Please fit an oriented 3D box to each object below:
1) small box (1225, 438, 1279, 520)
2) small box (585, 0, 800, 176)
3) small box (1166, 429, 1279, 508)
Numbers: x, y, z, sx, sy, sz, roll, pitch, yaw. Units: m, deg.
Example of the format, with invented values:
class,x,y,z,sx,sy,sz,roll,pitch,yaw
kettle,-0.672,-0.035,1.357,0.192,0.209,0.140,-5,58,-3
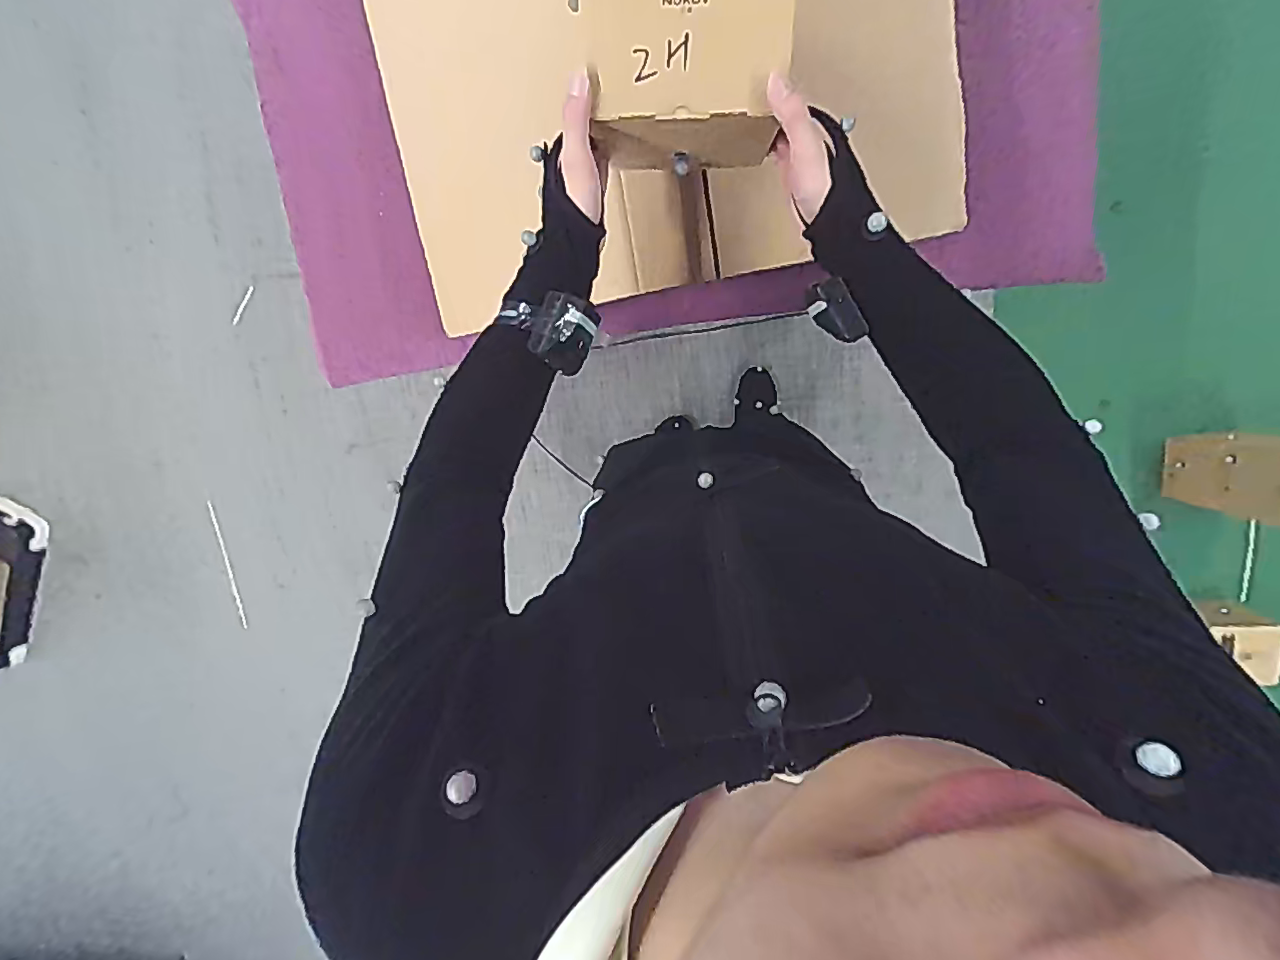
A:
class,x,y,z,sx,sy,sz,roll,pitch,yaw
small box,1.480,-0.002,1.207,0.179,0.176,0.168,-5,101,8
small box,0.045,-0.390,0.483,0.168,0.176,0.179,3,108,5
small box,1.501,-0.034,1.366,0.179,0.176,0.168,-5,100,9
